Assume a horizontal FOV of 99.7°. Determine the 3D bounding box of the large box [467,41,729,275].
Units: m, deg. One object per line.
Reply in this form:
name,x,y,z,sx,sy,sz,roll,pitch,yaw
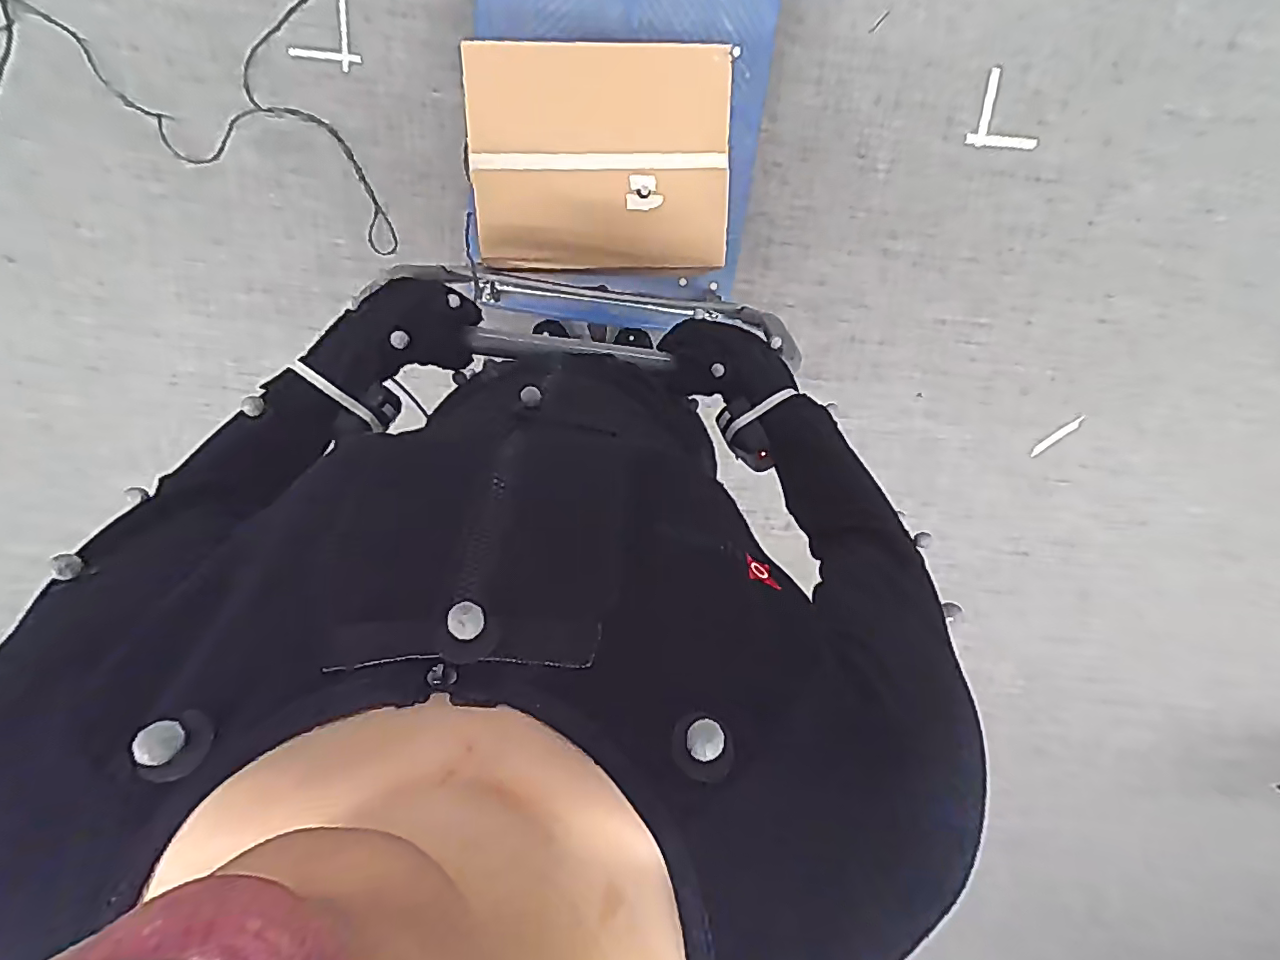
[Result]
large box,-0.069,-0.560,1.003,0.408,0.320,0.320,-2,108,-3
